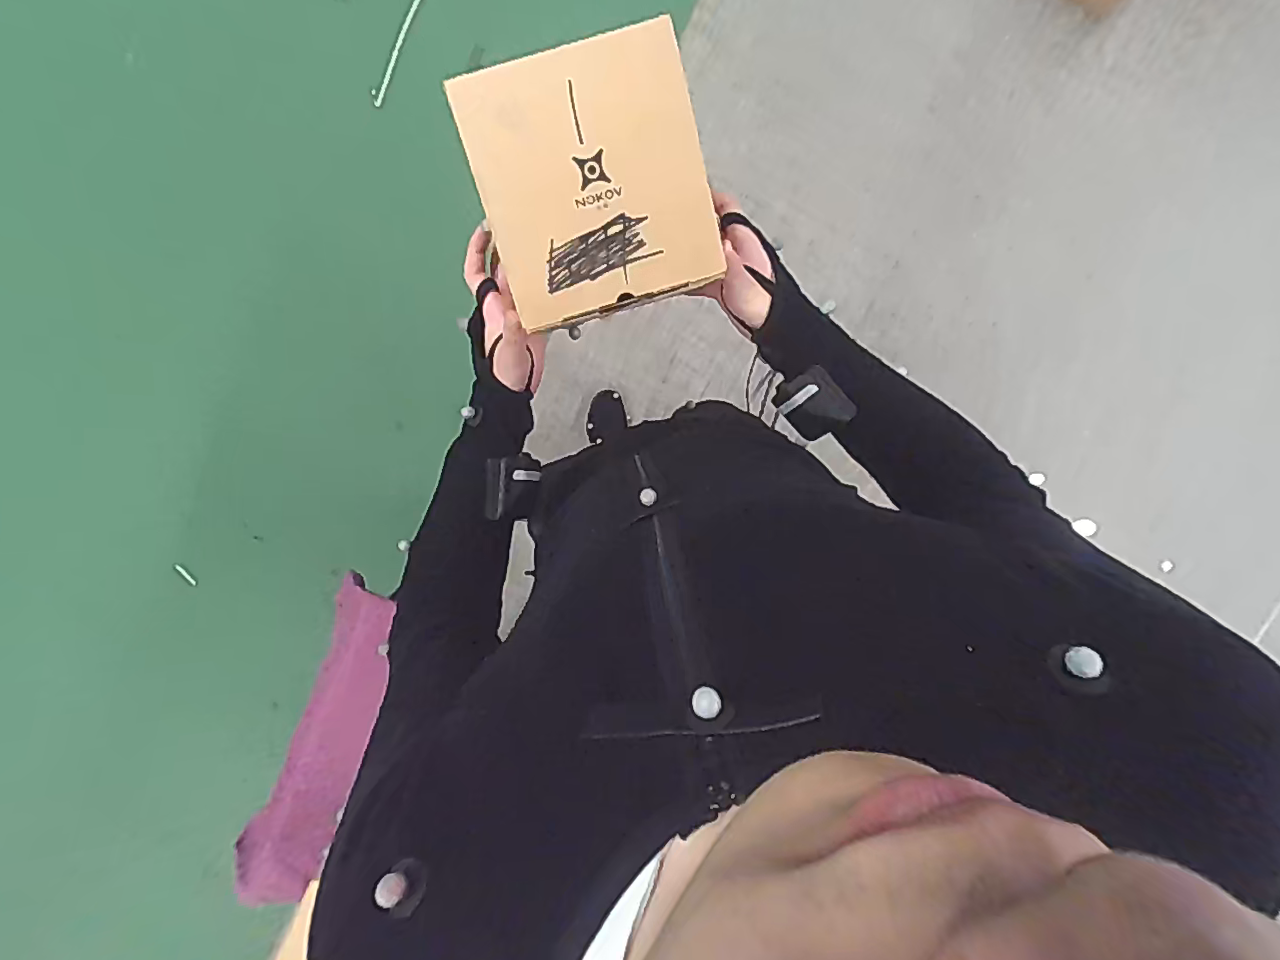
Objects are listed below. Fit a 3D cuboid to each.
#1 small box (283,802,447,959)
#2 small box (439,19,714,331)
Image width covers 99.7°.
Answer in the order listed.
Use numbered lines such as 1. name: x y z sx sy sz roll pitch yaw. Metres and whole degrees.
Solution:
1. small box: -0.451 0.699 0.912 0.168 0.176 0.179 25 98 -6
2. small box: -0.044 -0.237 0.470 0.168 0.176 0.179 -15 105 0
